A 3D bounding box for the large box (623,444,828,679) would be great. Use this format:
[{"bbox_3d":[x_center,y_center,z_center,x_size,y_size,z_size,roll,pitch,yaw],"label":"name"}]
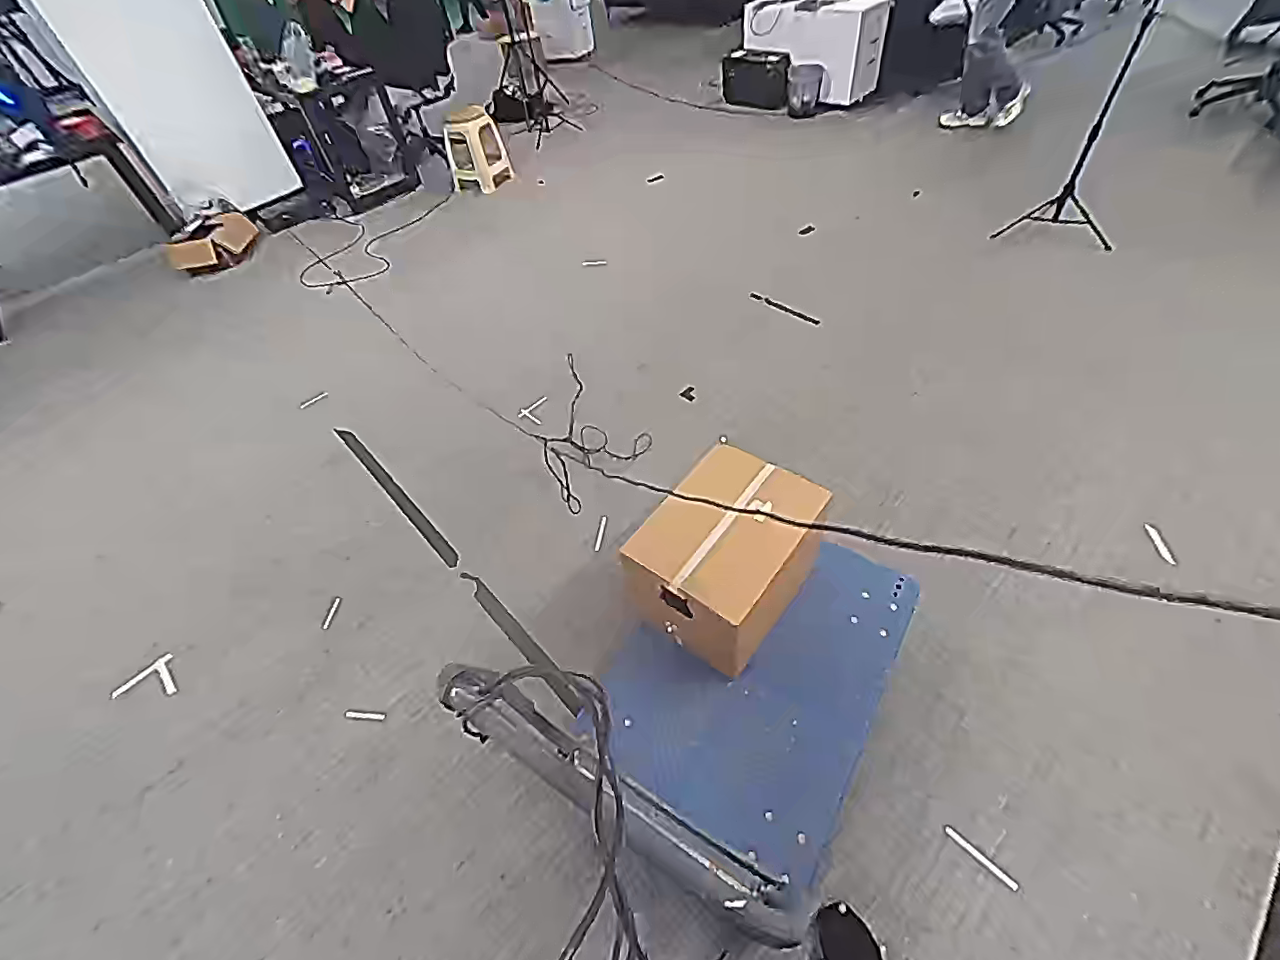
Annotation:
[{"bbox_3d":[0.213,0.193,1.327,0.320,0.320,0.408,29,59,28],"label":"large box"}]
